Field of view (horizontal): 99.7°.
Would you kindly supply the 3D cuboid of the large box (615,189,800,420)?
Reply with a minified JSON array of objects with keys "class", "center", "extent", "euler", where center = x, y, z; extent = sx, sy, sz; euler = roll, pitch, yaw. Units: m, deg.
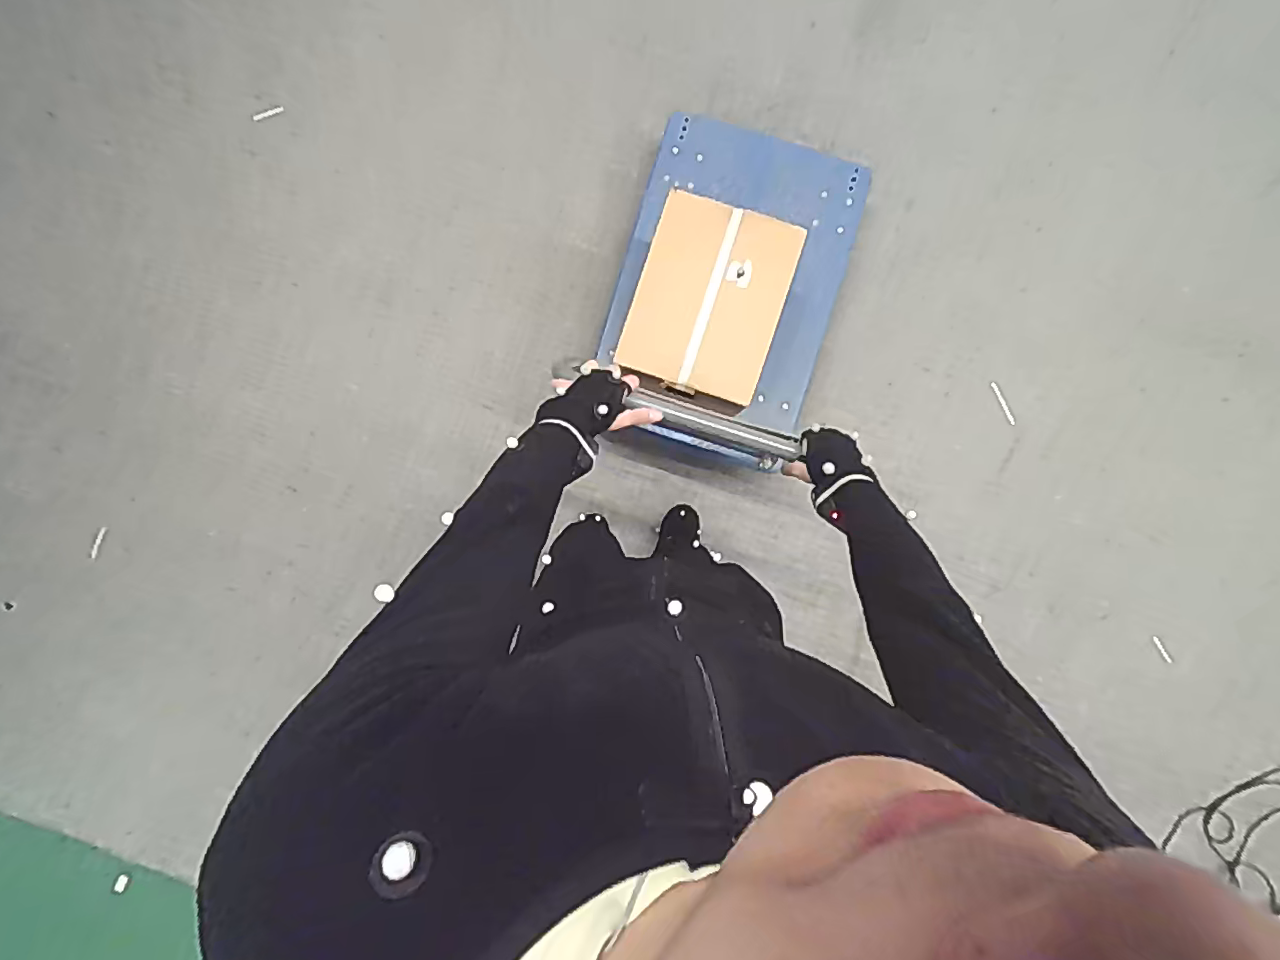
[{"class":"large box","center":[0.149,-0.394,1.312],"extent":[0.320,0.320,0.408],"euler":[18,89,1]}]
